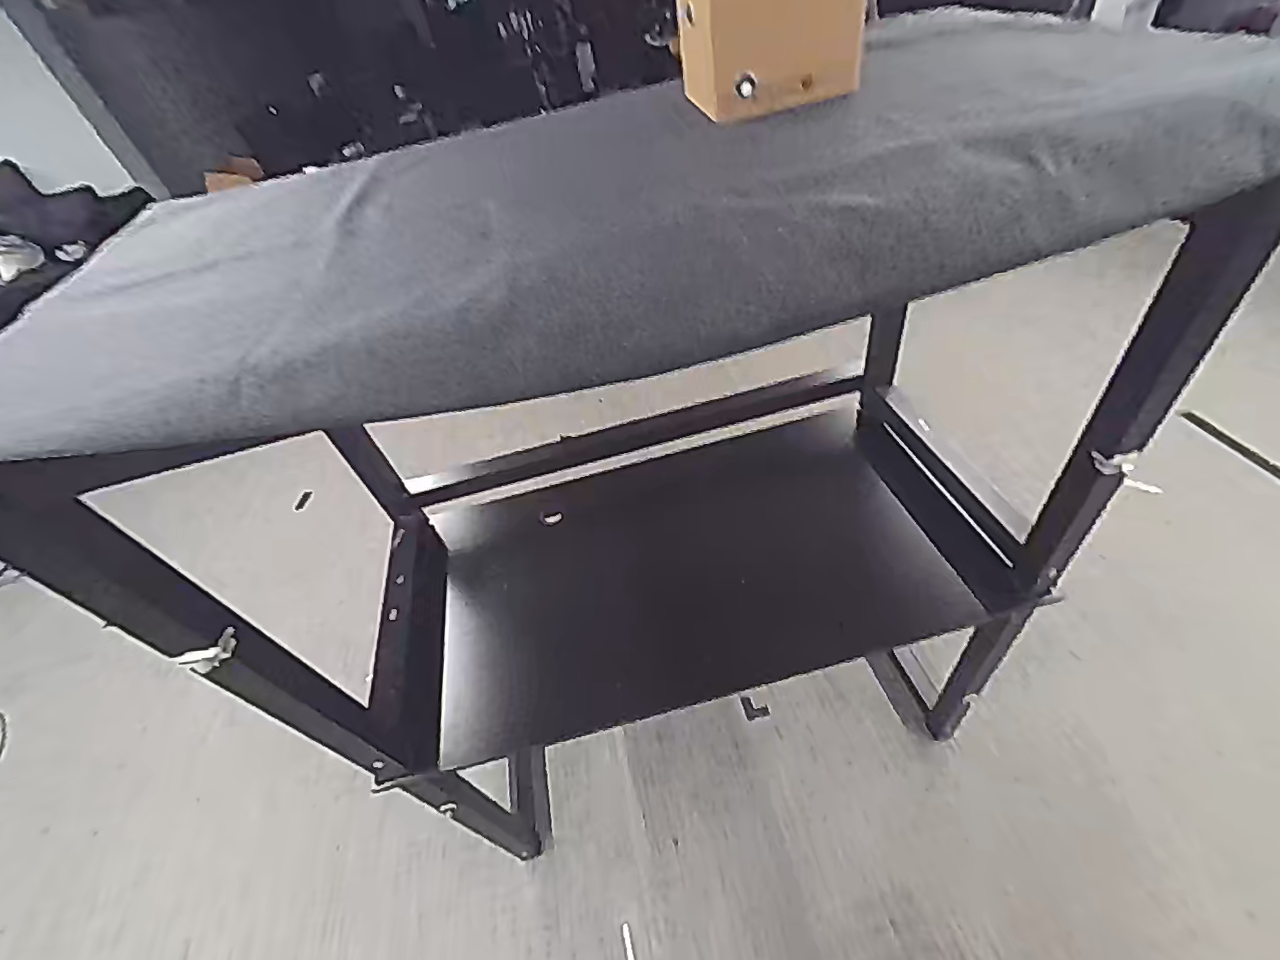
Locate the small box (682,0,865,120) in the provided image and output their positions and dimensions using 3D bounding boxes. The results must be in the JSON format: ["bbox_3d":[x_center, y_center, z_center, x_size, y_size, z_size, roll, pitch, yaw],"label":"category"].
[{"bbox_3d":[0.146,-0.533,0.617,0.168,0.176,0.179,-13,44,1],"label":"small box"}]
